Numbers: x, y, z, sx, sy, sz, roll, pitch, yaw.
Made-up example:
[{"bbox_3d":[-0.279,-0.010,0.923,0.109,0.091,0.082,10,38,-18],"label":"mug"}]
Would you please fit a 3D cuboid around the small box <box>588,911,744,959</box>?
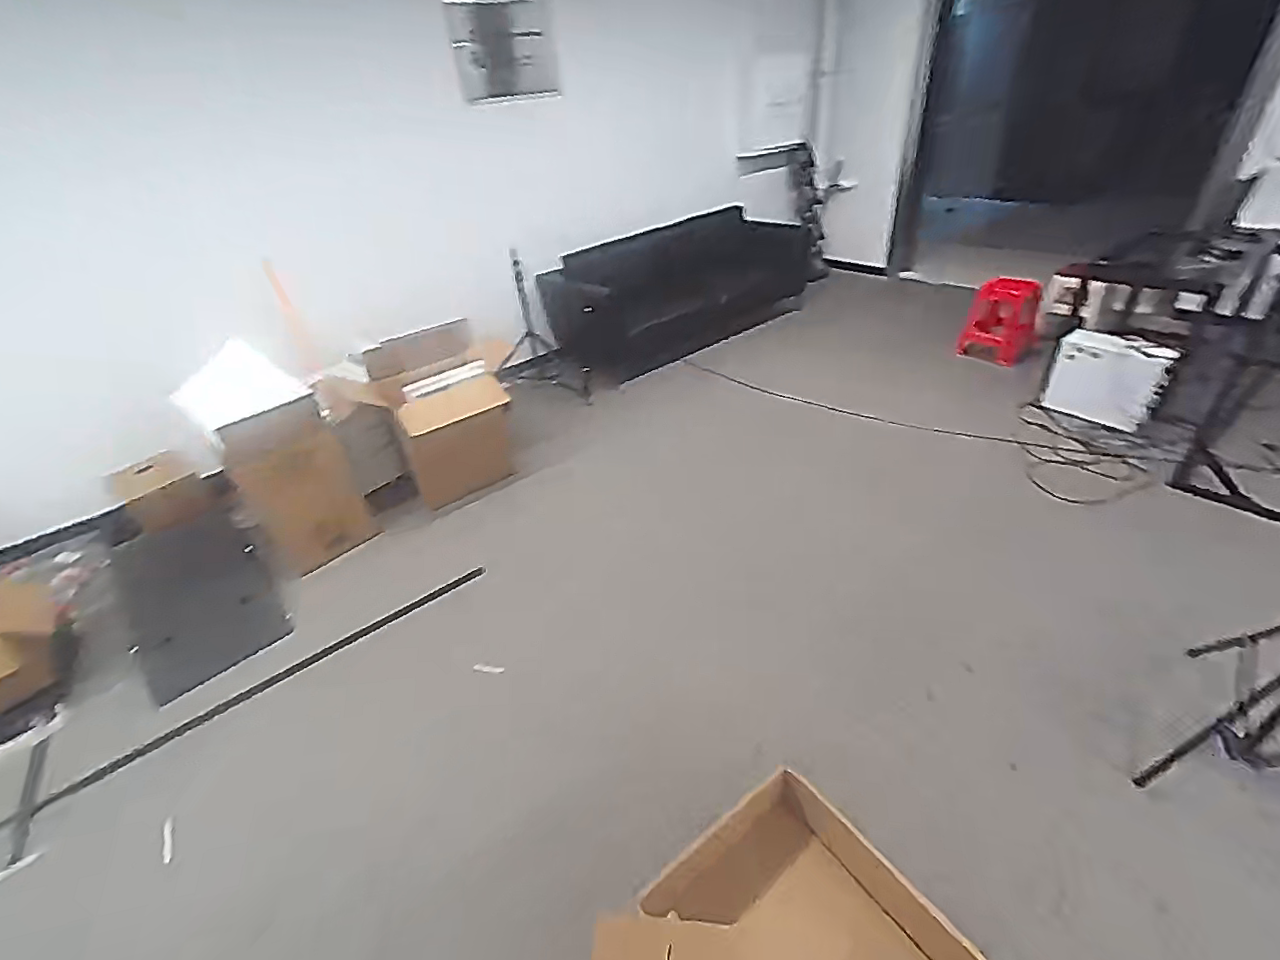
[{"bbox_3d":[0.024,0.595,0.587,0.168,0.176,0.179,3,46,4],"label":"small box"}]
